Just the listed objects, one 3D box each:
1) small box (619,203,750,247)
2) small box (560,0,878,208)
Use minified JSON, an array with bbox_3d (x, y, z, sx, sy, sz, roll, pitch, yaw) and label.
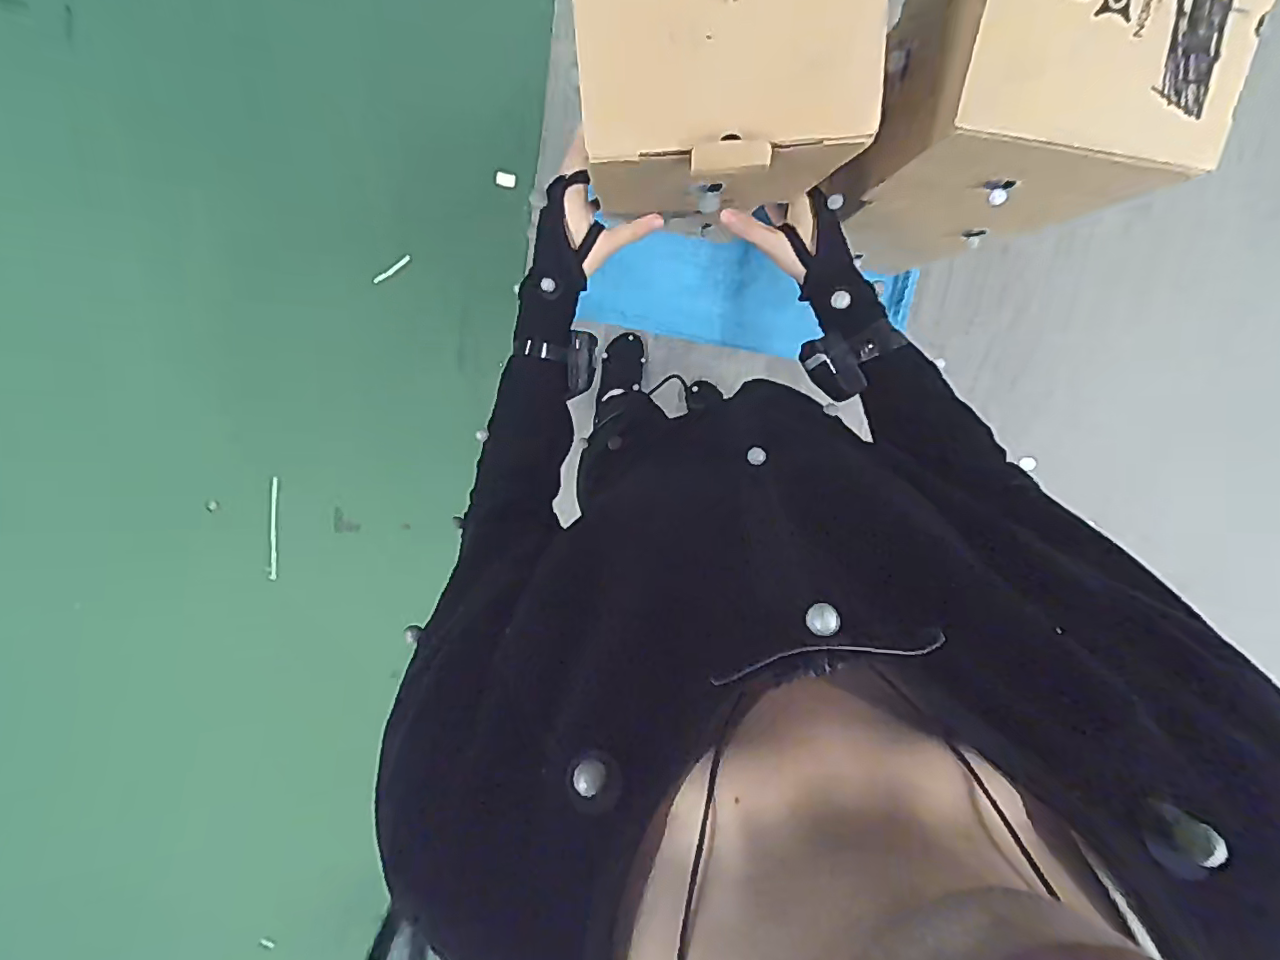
[{"bbox_3d":[0.068,-0.427,0.715,0.168,0.176,0.179,12,101,-4],"label":"small box"},{"bbox_3d":[0.041,-0.284,0.349,0.168,0.176,0.179,-3,107,1],"label":"small box"}]
